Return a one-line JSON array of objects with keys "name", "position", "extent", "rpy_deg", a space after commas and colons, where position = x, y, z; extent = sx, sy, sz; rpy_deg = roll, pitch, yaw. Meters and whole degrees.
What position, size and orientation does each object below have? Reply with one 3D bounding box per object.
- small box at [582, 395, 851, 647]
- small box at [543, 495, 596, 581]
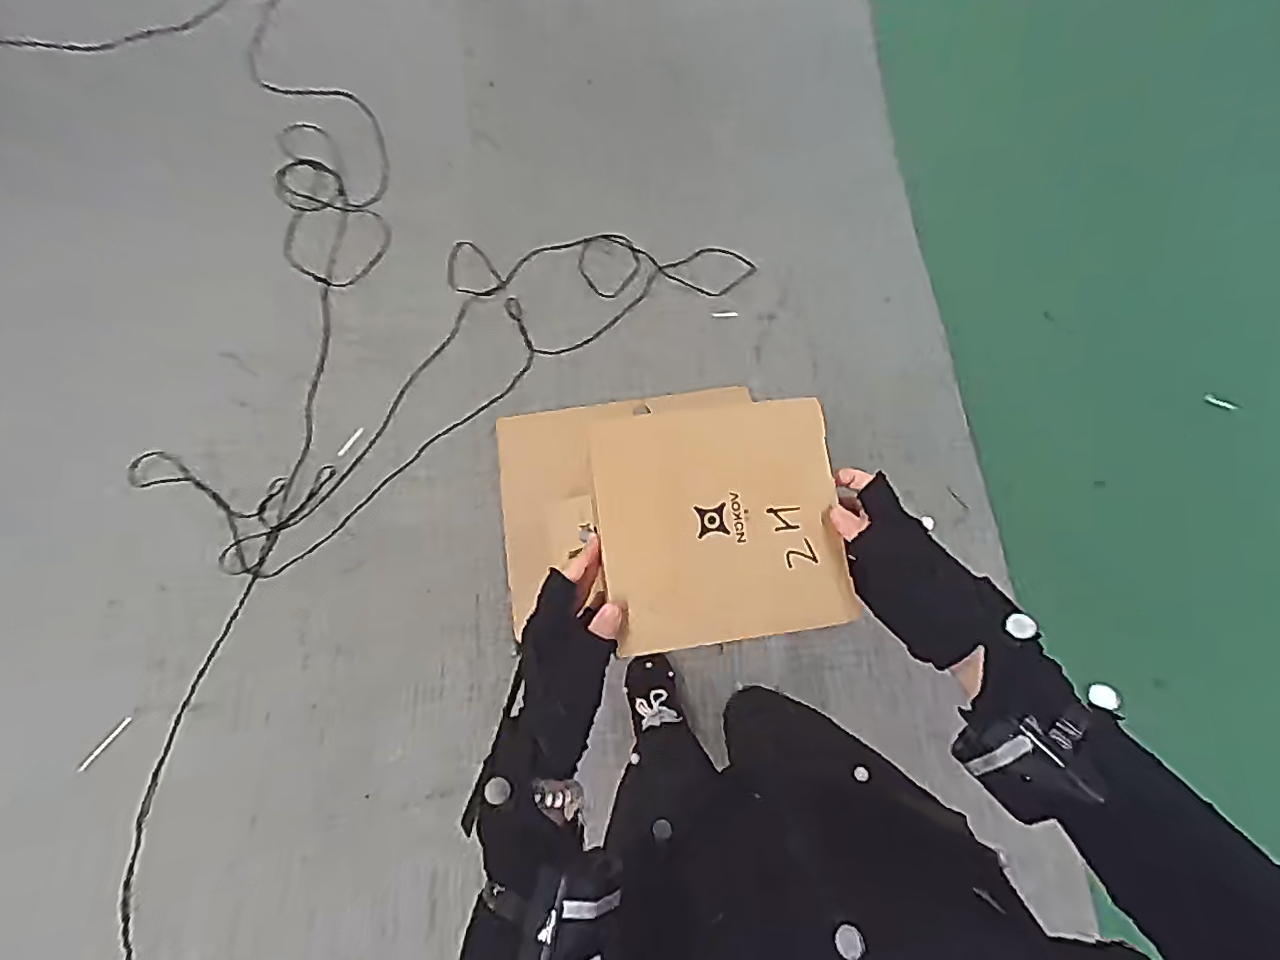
[{"name": "small box", "position": [0.047, 0.036, 0.459], "extent": [0.179, 0.176, 0.168], "rpy_deg": [-6, 83, -6]}, {"name": "small box", "position": [-0.121, 0.140, 1.291], "extent": [0.168, 0.176, 0.179], "rpy_deg": [-13, 75, -2]}]
